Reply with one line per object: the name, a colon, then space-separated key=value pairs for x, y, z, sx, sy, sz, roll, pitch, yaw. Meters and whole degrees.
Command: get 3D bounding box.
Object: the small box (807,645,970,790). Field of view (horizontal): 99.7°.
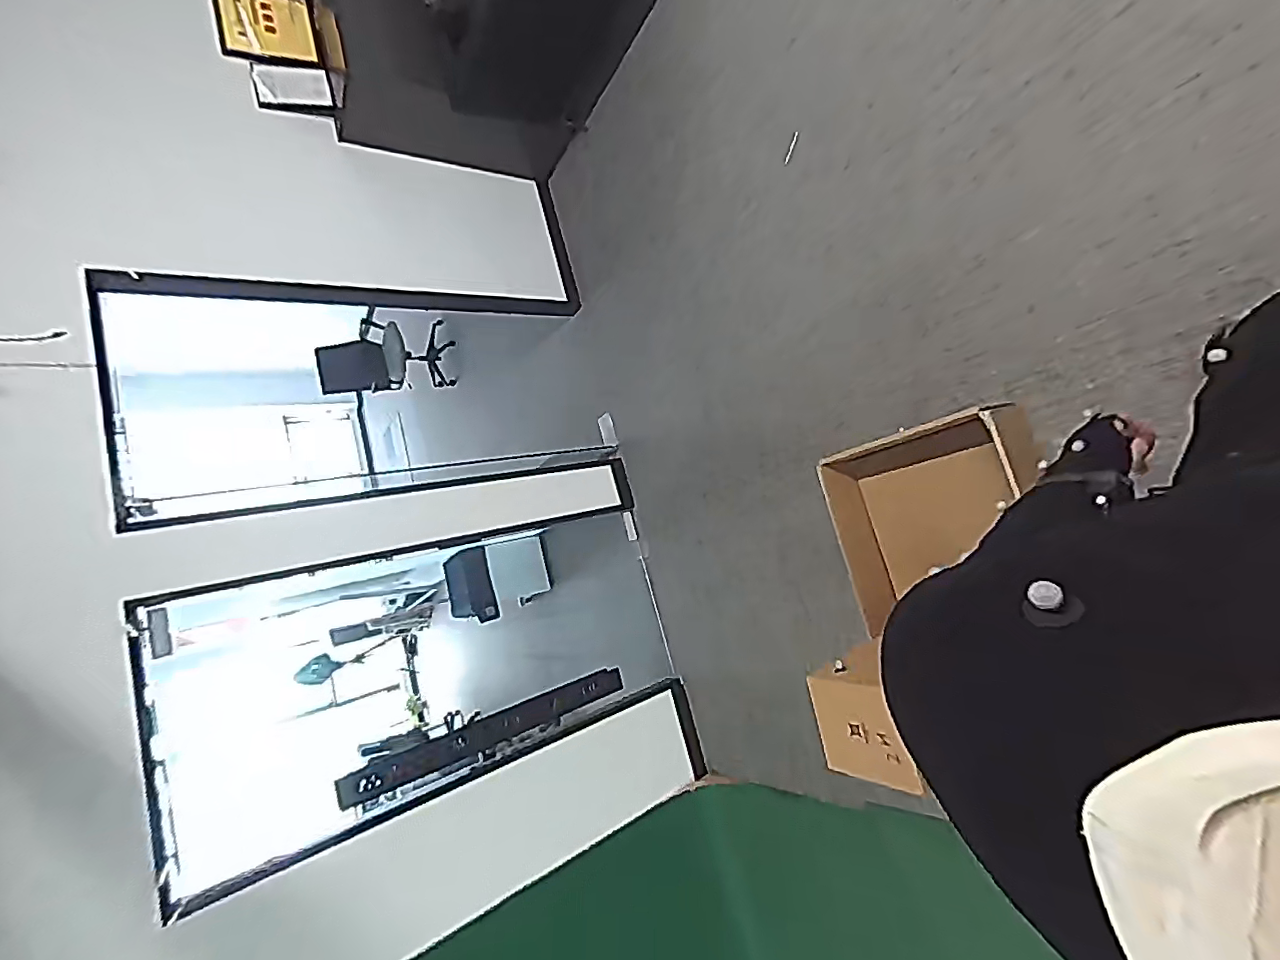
small box: x=0.426 y=0.393 z=0.933 sx=0.179 sy=0.176 sz=0.168 roll=-19 pitch=83 yaw=54
